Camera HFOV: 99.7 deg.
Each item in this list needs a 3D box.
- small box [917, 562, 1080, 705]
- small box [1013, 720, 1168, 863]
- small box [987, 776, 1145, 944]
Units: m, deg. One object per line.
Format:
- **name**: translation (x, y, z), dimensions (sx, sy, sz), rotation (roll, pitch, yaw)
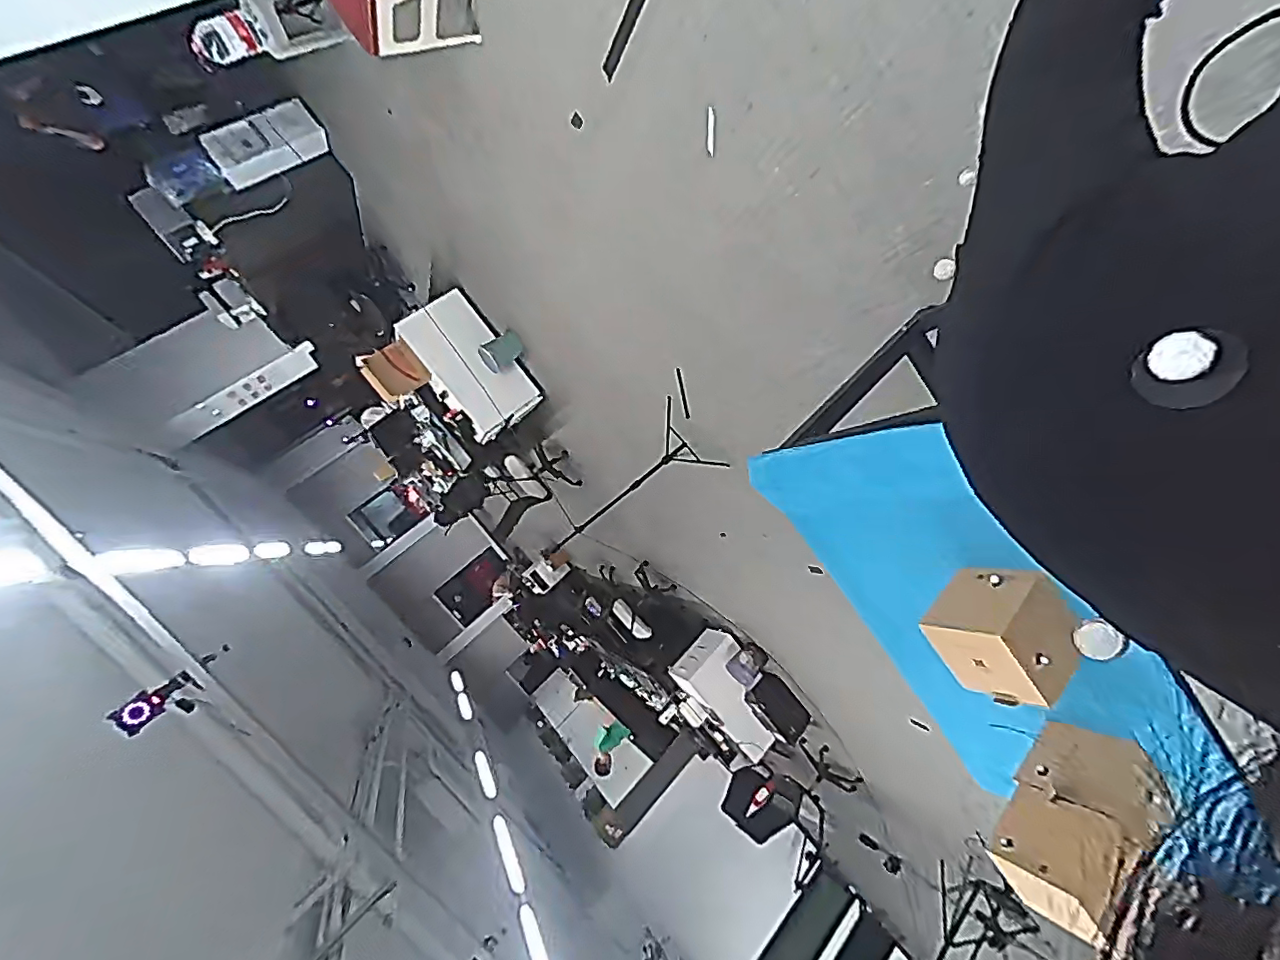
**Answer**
- **small box**: translation (0.674, 0.278, 1.016), dimensions (0.179, 0.176, 0.168), rotation (52, 159, -9)
- **small box**: translation (0.932, 0.632, 1.121), dimensions (0.168, 0.176, 0.179), rotation (52, 157, -12)
- **small box**: translation (0.817, 0.730, 1.050), dimensions (0.179, 0.176, 0.168), rotation (53, 159, -10)
